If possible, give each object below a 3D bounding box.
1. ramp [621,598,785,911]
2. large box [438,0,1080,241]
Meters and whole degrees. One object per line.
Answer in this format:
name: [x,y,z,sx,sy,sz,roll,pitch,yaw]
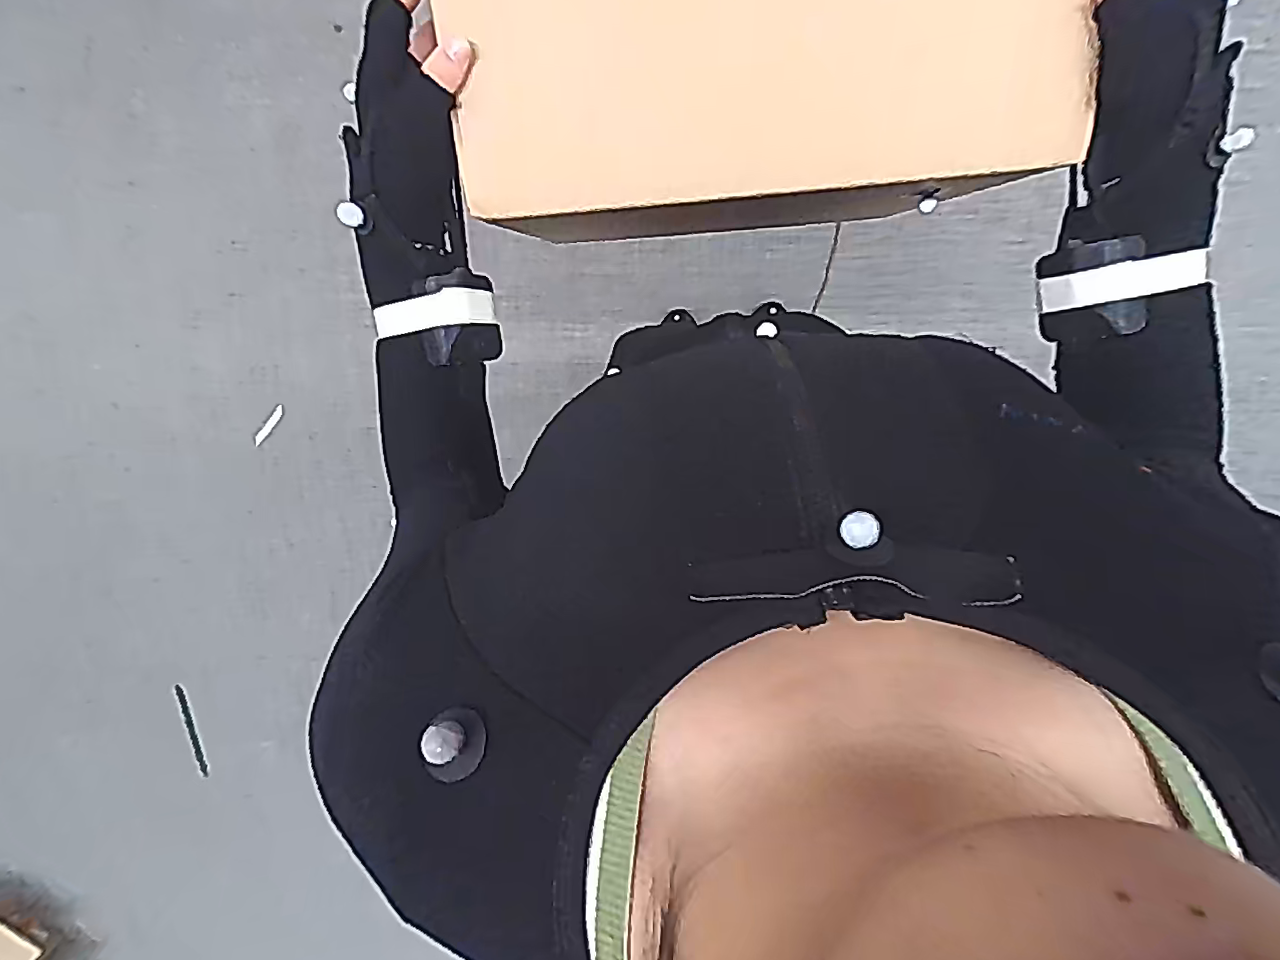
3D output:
ramp: [0.183,0.854,1.672,0.509,0.206,0.991,0,106,6]
large box: [0.072,-0.392,0.457,0.408,0.320,0.320,-4,110,3]
